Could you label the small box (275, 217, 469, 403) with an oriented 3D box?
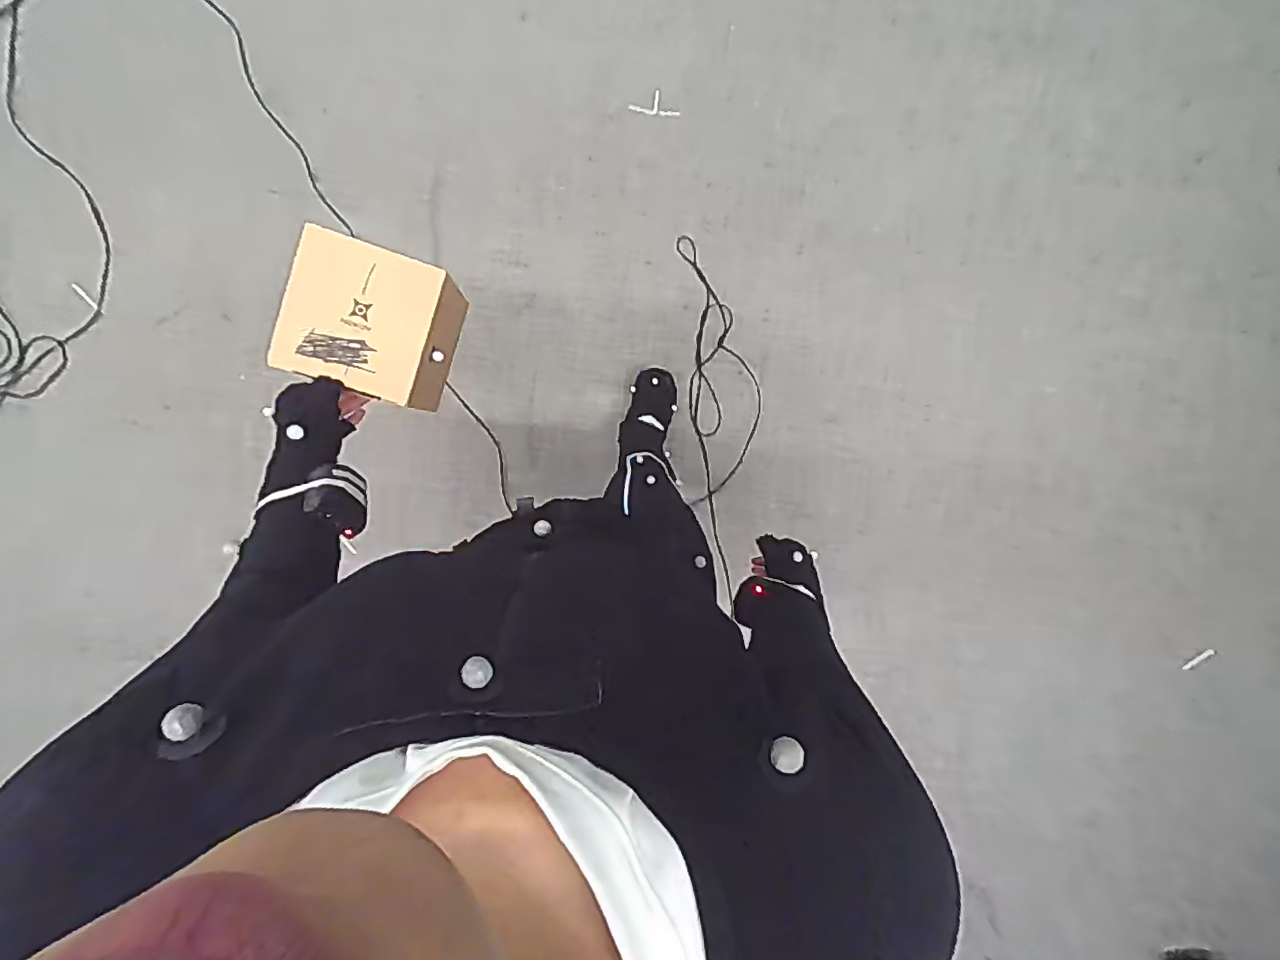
[{"bbox_3d":[-0.341,-0.209,0.725,0.168,0.176,0.179,17,92,-10],"label":"small box"}]
